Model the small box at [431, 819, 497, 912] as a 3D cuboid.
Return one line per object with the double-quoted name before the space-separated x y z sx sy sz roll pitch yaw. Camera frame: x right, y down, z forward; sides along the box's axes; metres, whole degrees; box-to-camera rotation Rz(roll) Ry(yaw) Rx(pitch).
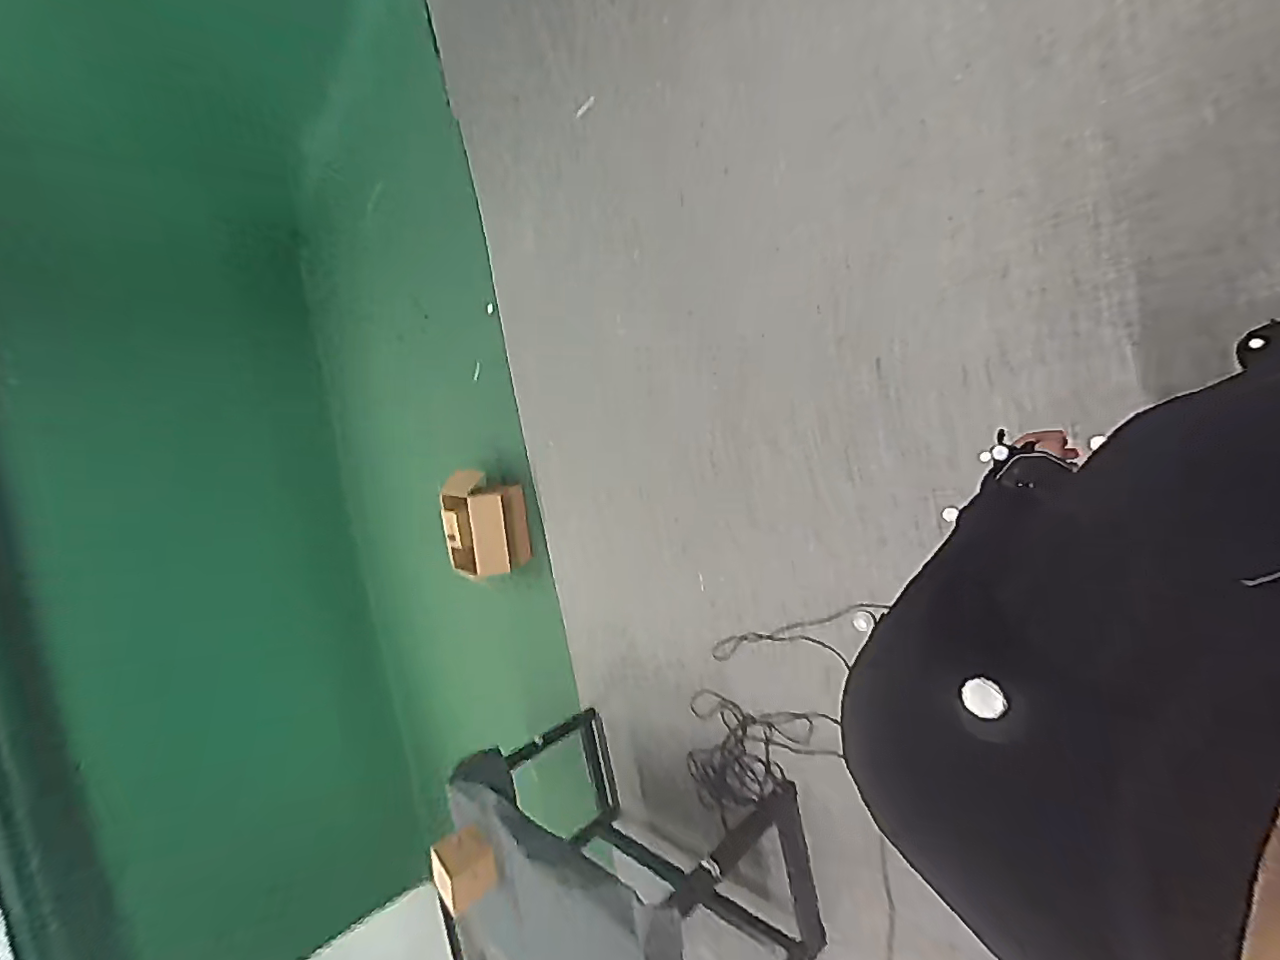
"small box" -0.633 1.378 1.948 0.168 0.176 0.179 19 115 45
